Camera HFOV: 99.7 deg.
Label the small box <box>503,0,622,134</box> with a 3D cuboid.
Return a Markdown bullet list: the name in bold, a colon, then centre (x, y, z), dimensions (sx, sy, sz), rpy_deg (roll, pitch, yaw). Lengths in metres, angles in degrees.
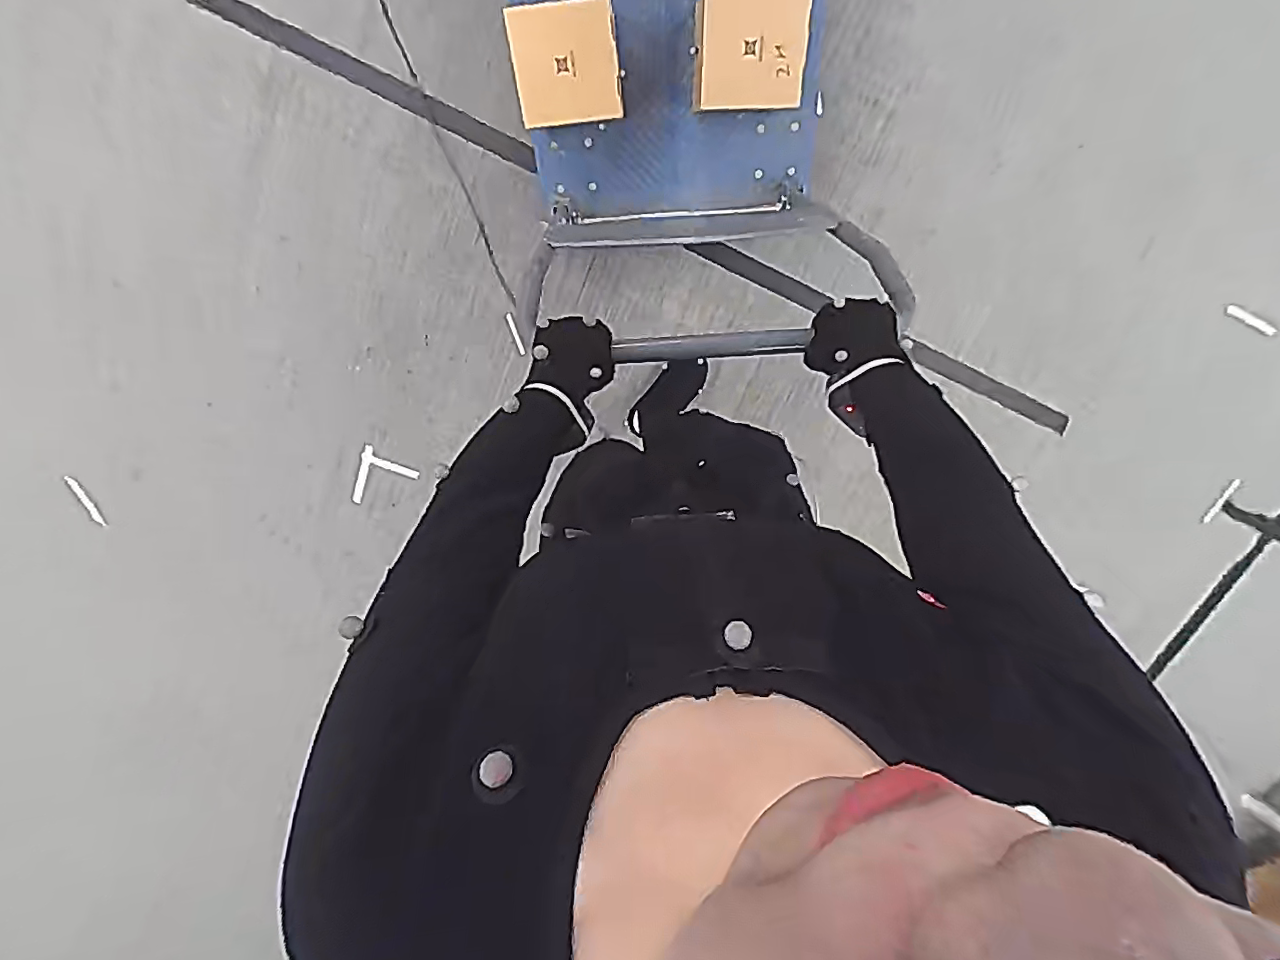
- **small box**: centre (-0.128, -0.730, 0.971), dimensions (0.179, 0.176, 0.168), rpy_deg (-7, 123, 2)

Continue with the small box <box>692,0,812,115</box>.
- **small box**: centre (0.187, -0.752, 0.962), dimensions (0.179, 0.176, 0.168), rpy_deg (-1, 123, 0)
